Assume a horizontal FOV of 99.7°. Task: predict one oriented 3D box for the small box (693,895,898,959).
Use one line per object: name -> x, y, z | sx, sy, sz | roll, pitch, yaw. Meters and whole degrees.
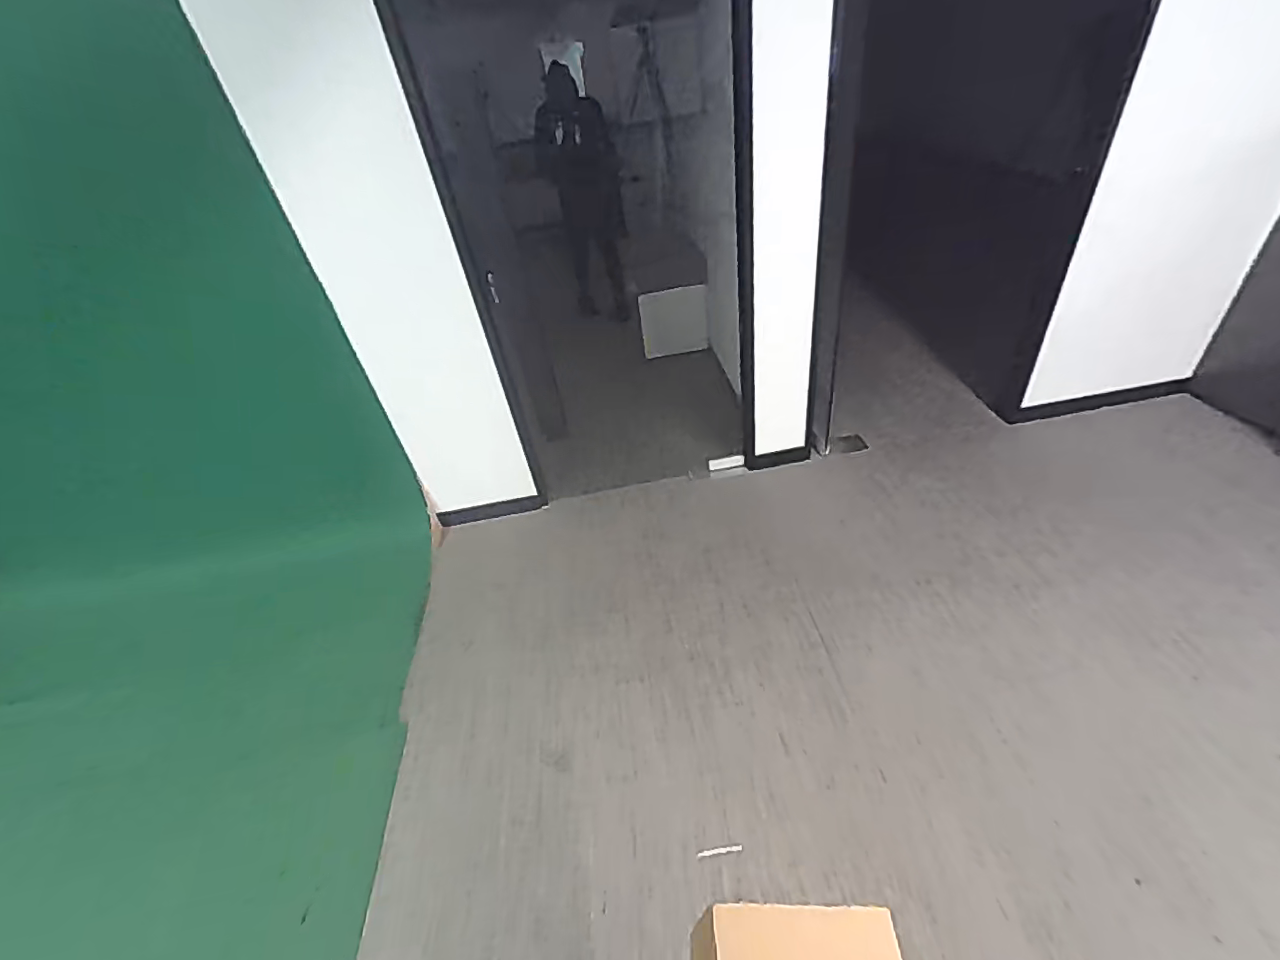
small box -> 0.144, 0.518, 0.515 | 0.179, 0.176, 0.168 | 3, 43, -1
